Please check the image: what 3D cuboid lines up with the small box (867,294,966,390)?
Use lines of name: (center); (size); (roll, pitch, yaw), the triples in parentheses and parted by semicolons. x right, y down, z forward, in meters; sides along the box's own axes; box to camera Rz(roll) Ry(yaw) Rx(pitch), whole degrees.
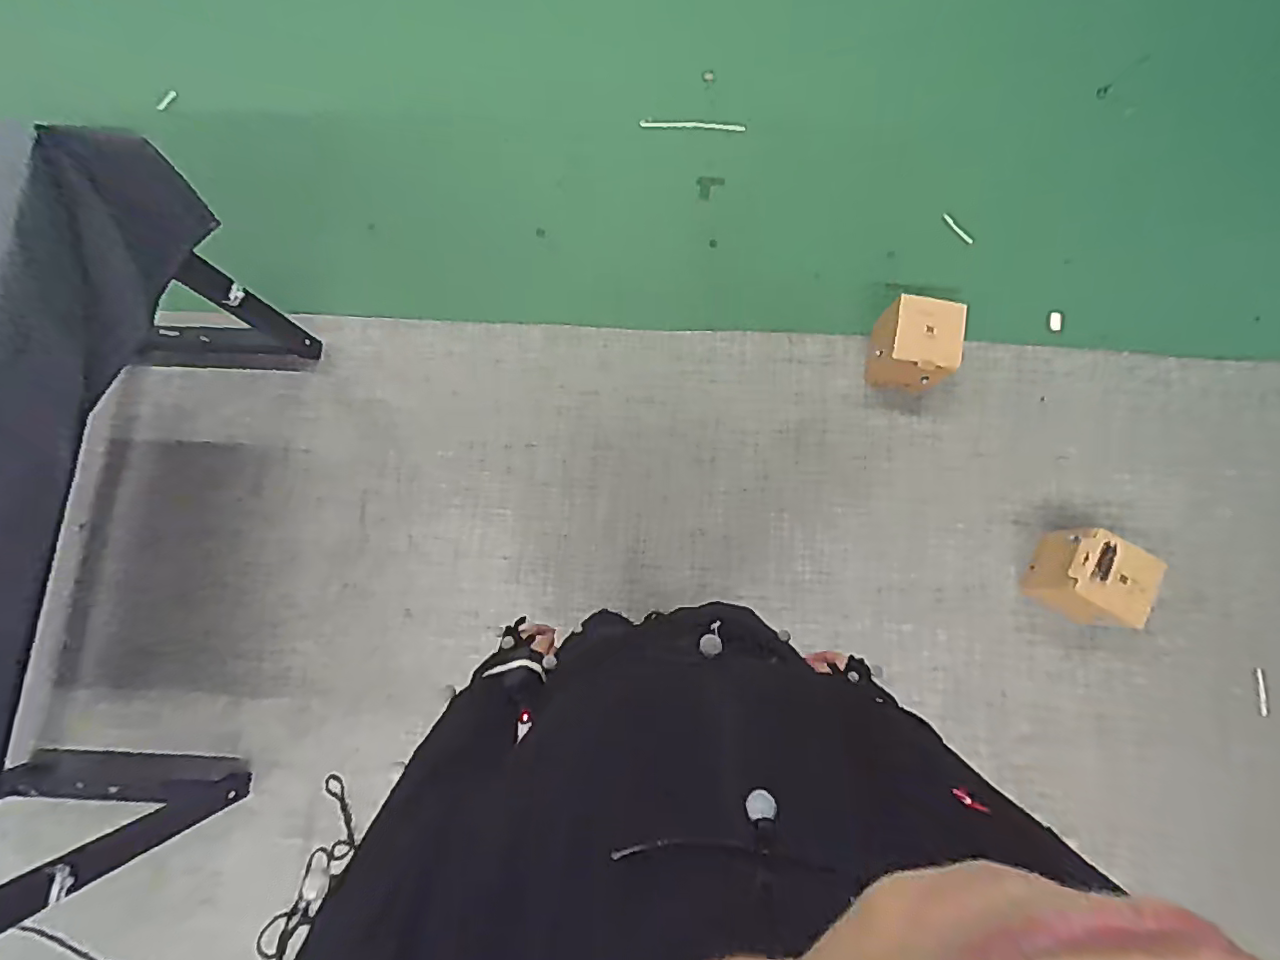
small box: (0.706, -0.348, 1.397); (0.168, 0.176, 0.179); (11, 80, 1)
